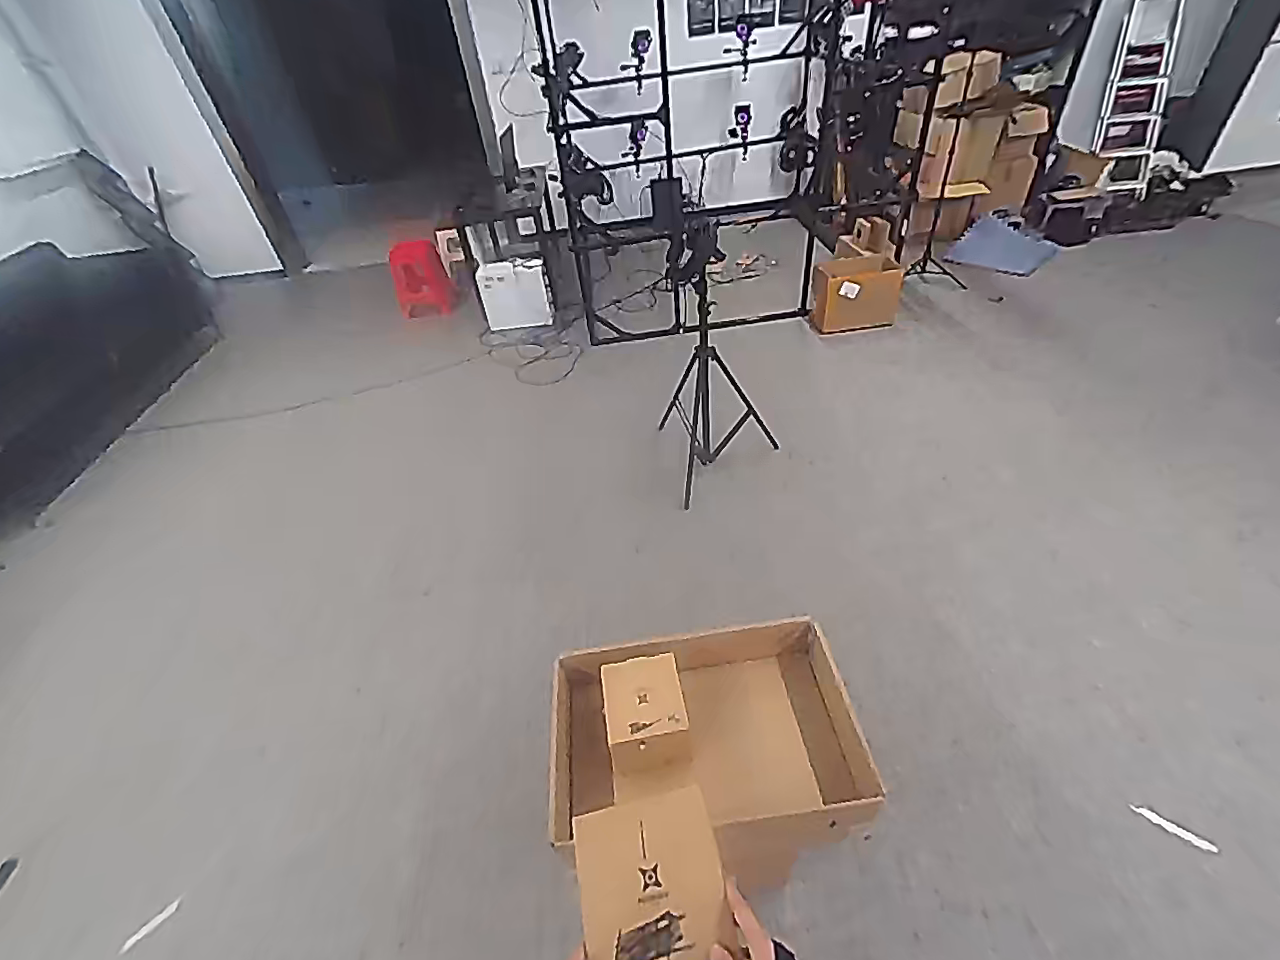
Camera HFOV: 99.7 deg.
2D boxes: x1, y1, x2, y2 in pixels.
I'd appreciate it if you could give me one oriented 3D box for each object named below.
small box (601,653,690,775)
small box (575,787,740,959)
[{"bbox_3d":[0.011,0.513,1.185,0.168,0.176,0.179,-10,41,-2],"label":"small box"},{"bbox_3d":[0.024,0.509,0.678,0.168,0.176,0.179,-13,52,-1],"label":"small box"}]
